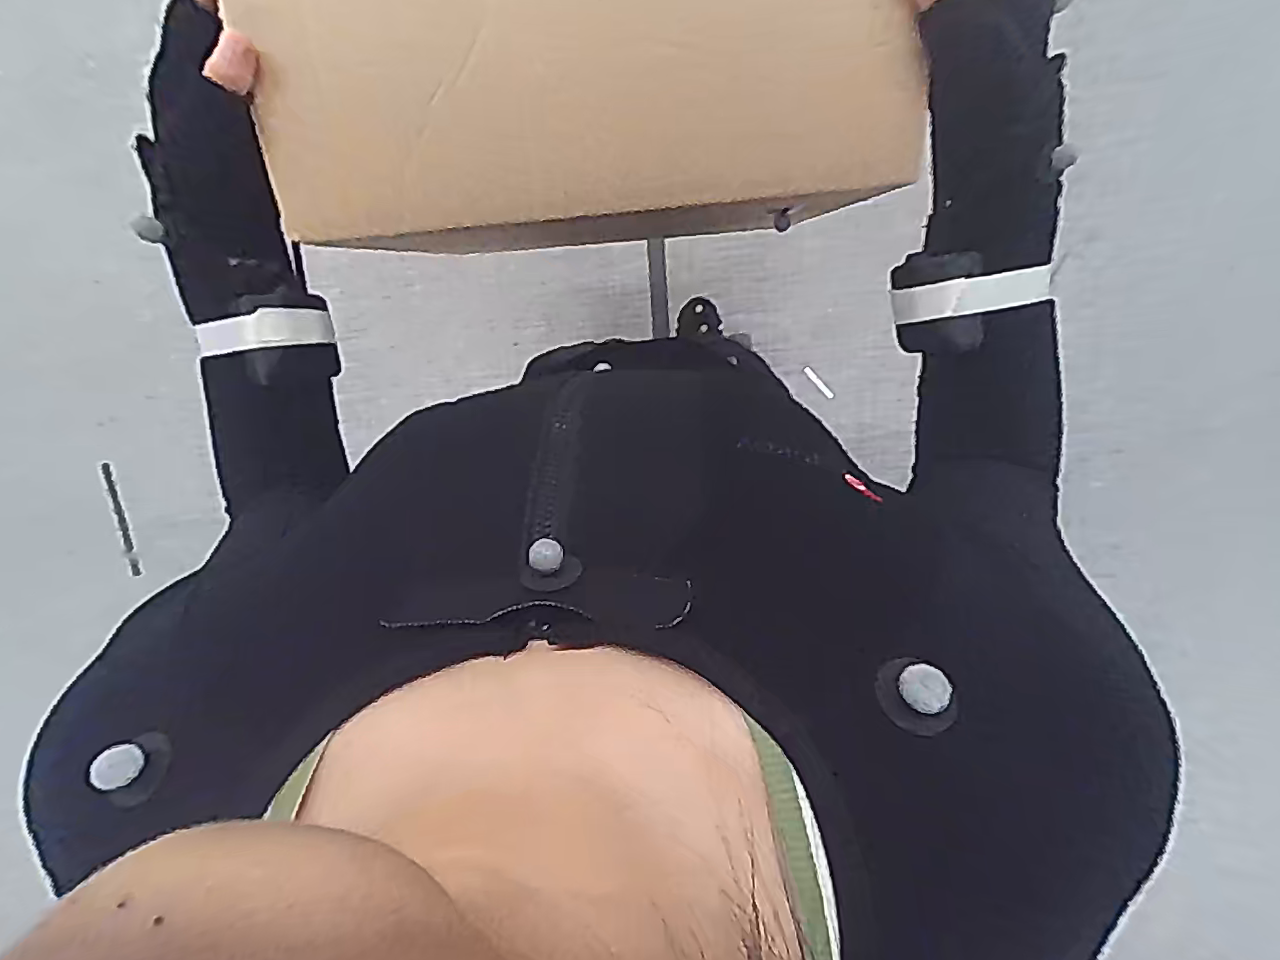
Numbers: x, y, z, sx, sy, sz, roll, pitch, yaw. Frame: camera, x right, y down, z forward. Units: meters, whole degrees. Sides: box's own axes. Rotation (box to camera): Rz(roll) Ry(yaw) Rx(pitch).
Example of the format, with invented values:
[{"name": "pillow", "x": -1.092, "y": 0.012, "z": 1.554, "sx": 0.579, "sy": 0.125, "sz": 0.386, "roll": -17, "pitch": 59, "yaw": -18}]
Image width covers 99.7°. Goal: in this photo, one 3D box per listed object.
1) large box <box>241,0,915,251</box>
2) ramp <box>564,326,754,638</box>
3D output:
[{"name": "large box", "x": -0.036, "y": -0.375, "z": 0.443, "sx": 0.408, "sy": 0.320, "sz": 0.320, "roll": -4, "pitch": 111, "yaw": 3}, {"name": "ramp", "x": 0.090, "y": 0.068, "z": 1.606, "sx": 0.509, "sy": 0.206, "sz": 0.991, "roll": -6, "pitch": 105, "yaw": 4}]
